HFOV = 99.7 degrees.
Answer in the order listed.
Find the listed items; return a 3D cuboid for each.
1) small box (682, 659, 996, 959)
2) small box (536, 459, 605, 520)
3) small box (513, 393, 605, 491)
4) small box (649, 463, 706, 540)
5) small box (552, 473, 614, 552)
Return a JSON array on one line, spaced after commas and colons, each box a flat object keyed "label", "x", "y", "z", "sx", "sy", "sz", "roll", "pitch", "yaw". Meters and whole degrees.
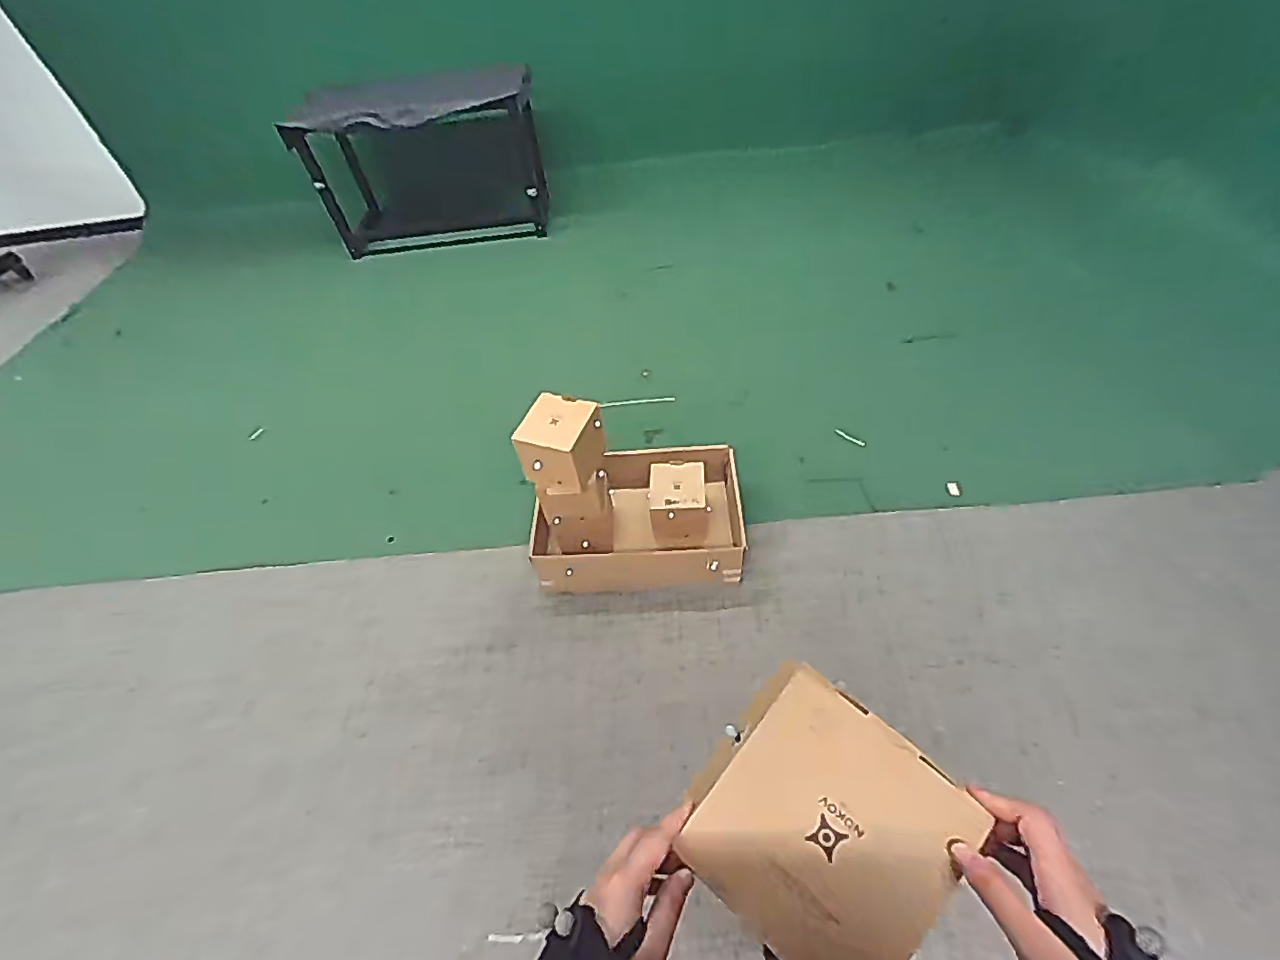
[{"label": "small box", "x": 0.153, "y": 0.278, "z": 0.474, "sx": 0.168, "sy": 0.176, "sz": 0.179, "roll": 37, "pitch": 80, "yaw": 17}, {"label": "small box", "x": -0.190, "y": 0.004, "z": 1.537, "sx": 0.168, "sy": 0.176, "sz": 0.179, "roll": -3, "pitch": 49, "yaw": 2}, {"label": "small box", "x": -0.201, "y": -0.095, "z": 1.408, "sx": 0.168, "sy": 0.176, "sz": 0.179, "roll": 14, "pitch": 52, "yaw": 16}, {"label": "small box", "x": 0.120, "y": 0.067, "z": 1.666, "sx": 0.168, "sy": 0.176, "sz": 0.179, "roll": -1, "pitch": 50, "yaw": 7}, {"label": "small box", "x": -0.171, "y": 0.101, "z": 1.668, "sx": 0.168, "sy": 0.176, "sz": 0.179, "roll": -5, "pitch": 50, "yaw": 2}]
